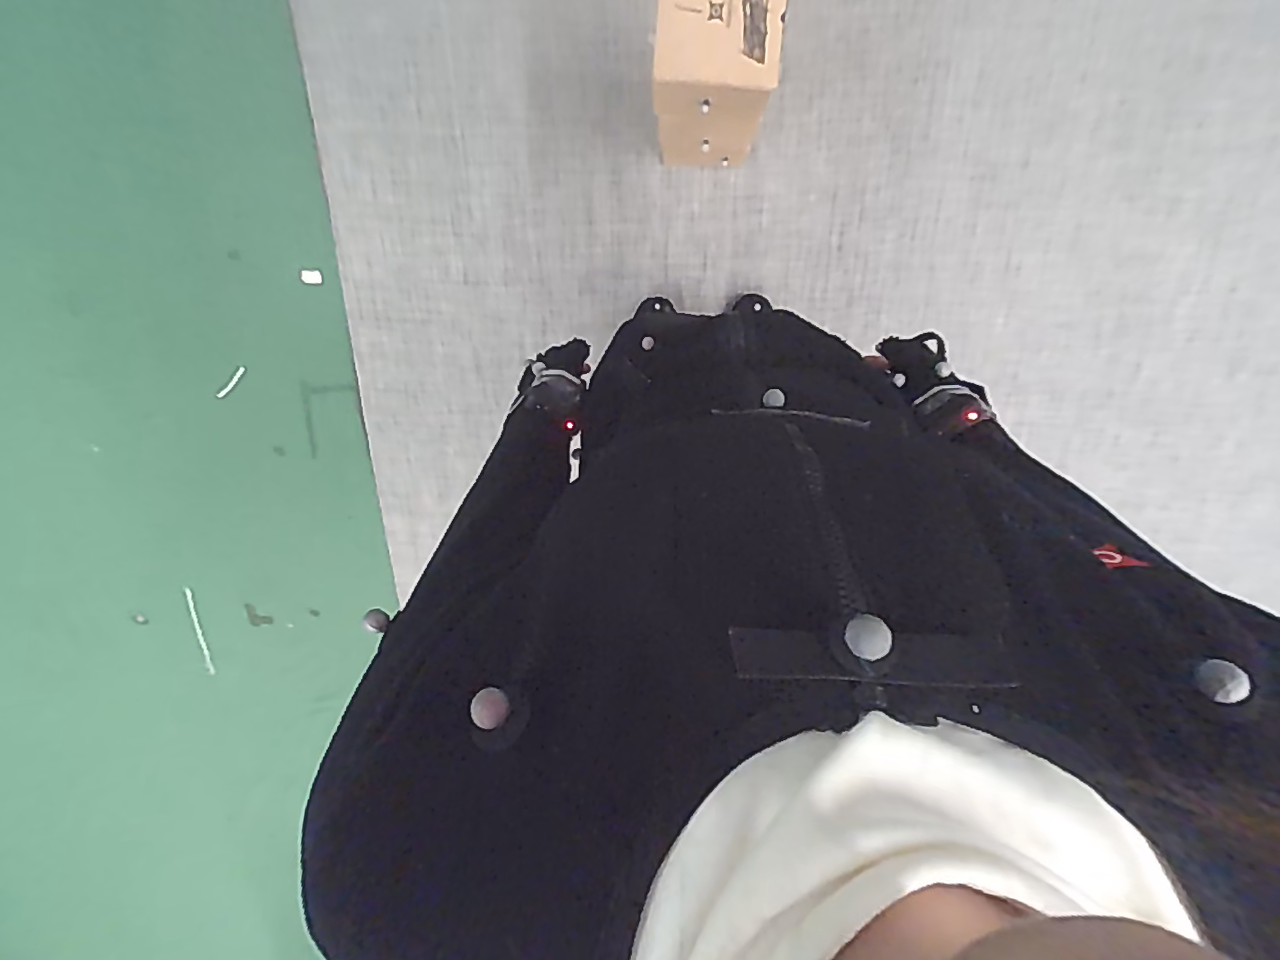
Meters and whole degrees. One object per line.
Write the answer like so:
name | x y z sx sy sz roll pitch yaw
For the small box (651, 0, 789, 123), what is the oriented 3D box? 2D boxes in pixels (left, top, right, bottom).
small box | 0.115 -0.653 0.805 0.179 0.176 0.168 7 109 2

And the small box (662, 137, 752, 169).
small box | 0.138 -0.754 1.117 0.179 0.176 0.168 3 108 3

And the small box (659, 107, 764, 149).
small box | 0.127 -0.704 0.961 0.179 0.176 0.168 4 109 1
